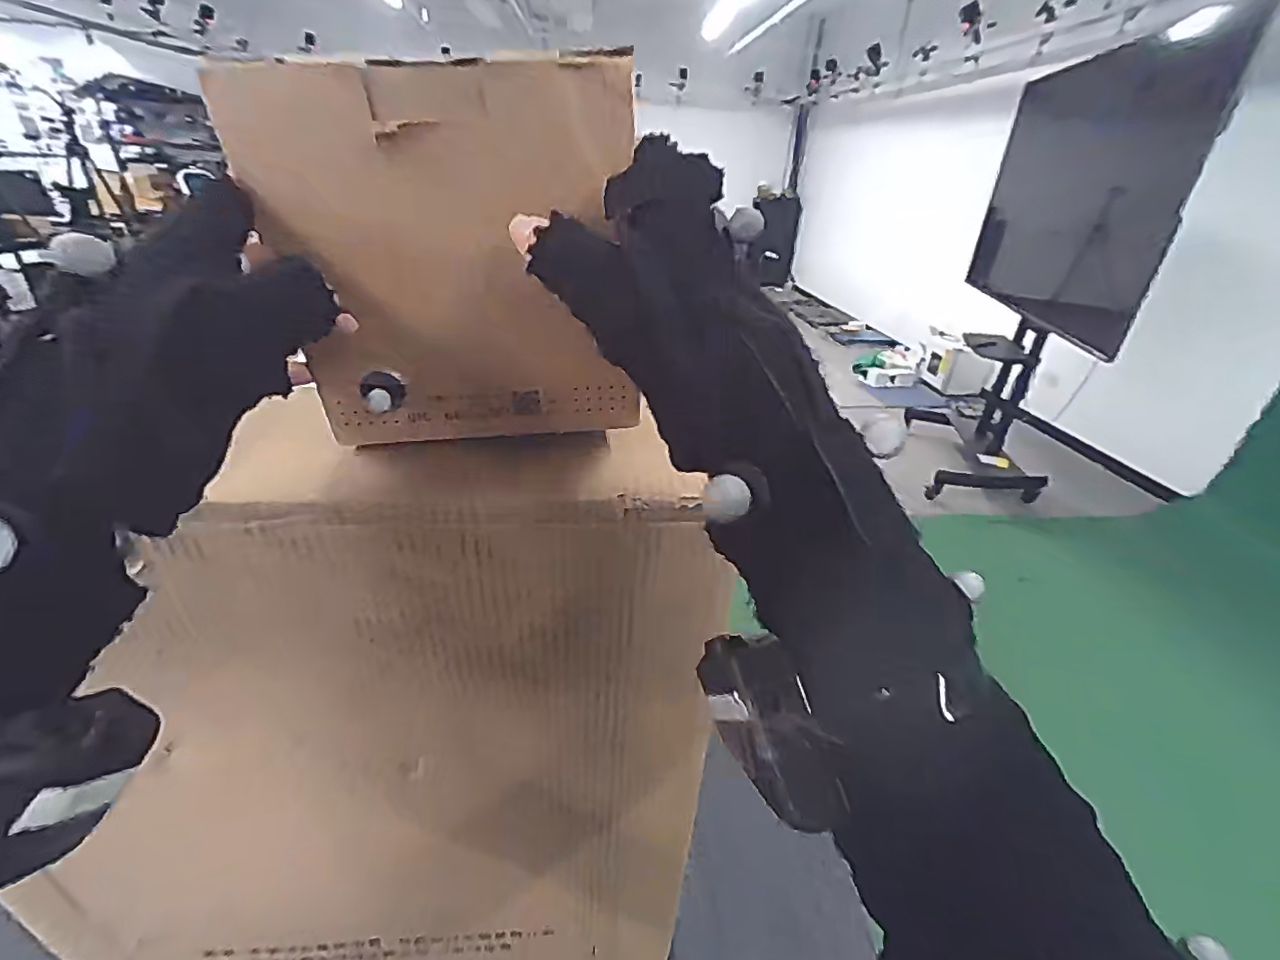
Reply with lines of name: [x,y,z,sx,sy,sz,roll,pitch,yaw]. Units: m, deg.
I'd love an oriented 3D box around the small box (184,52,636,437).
small box: [-0.093,-0.134,0.316,0.168,0.176,0.179,-5,35,-3]
